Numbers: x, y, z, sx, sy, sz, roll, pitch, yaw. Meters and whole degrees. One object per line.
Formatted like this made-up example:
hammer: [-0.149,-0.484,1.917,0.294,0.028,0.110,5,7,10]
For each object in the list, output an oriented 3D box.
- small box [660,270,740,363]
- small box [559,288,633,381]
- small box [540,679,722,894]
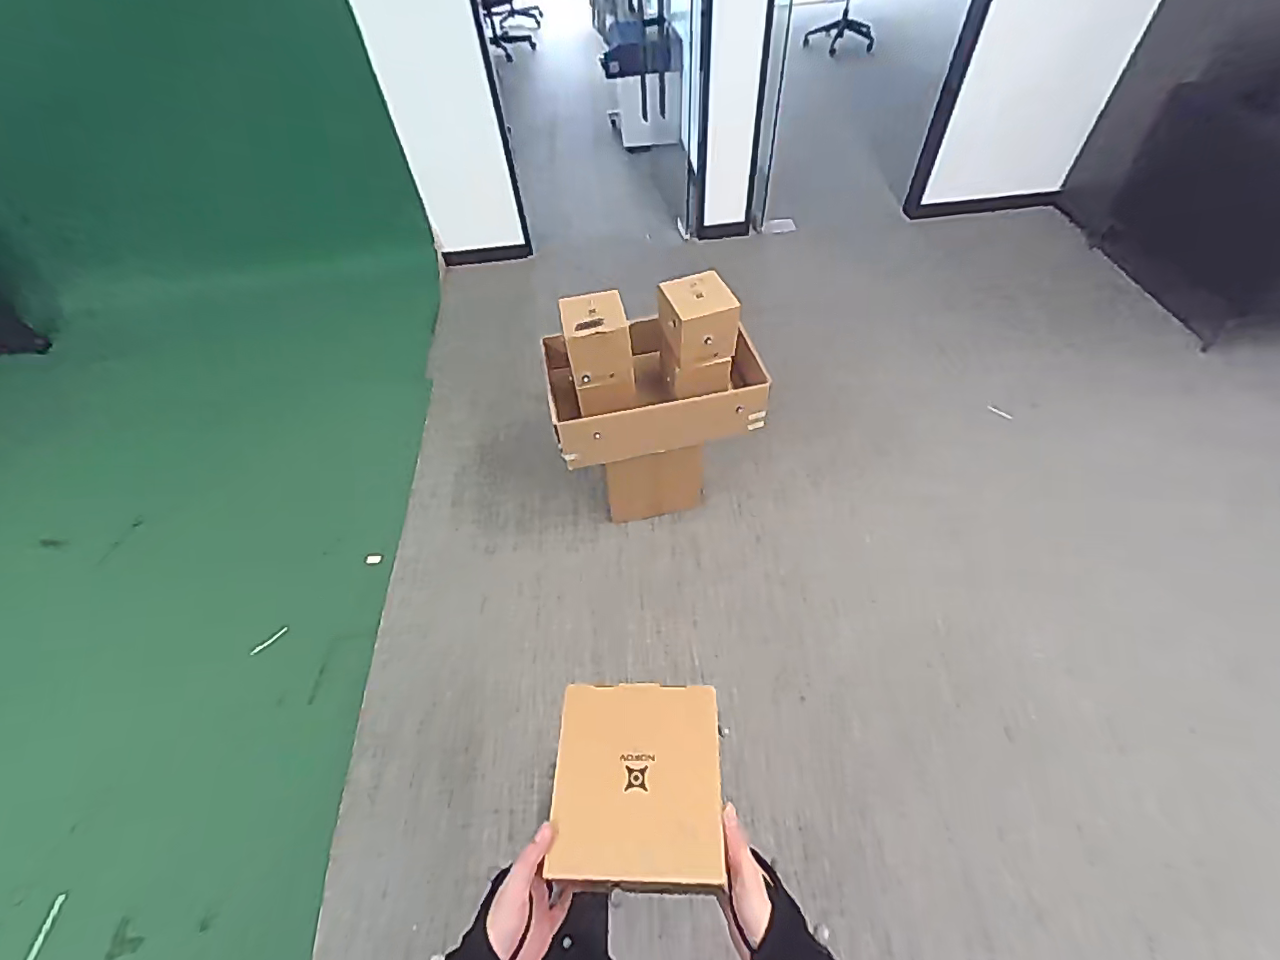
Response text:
small box: [0.159,-0.438,1.477,0.168,0.176,0.179,-16,54,-9]
small box: [-0.116,-0.383,1.453,0.168,0.176,0.179,-10,52,-4]
small box: [0.002,0.333,0.586,0.168,0.176,0.179,-1,48,4]
